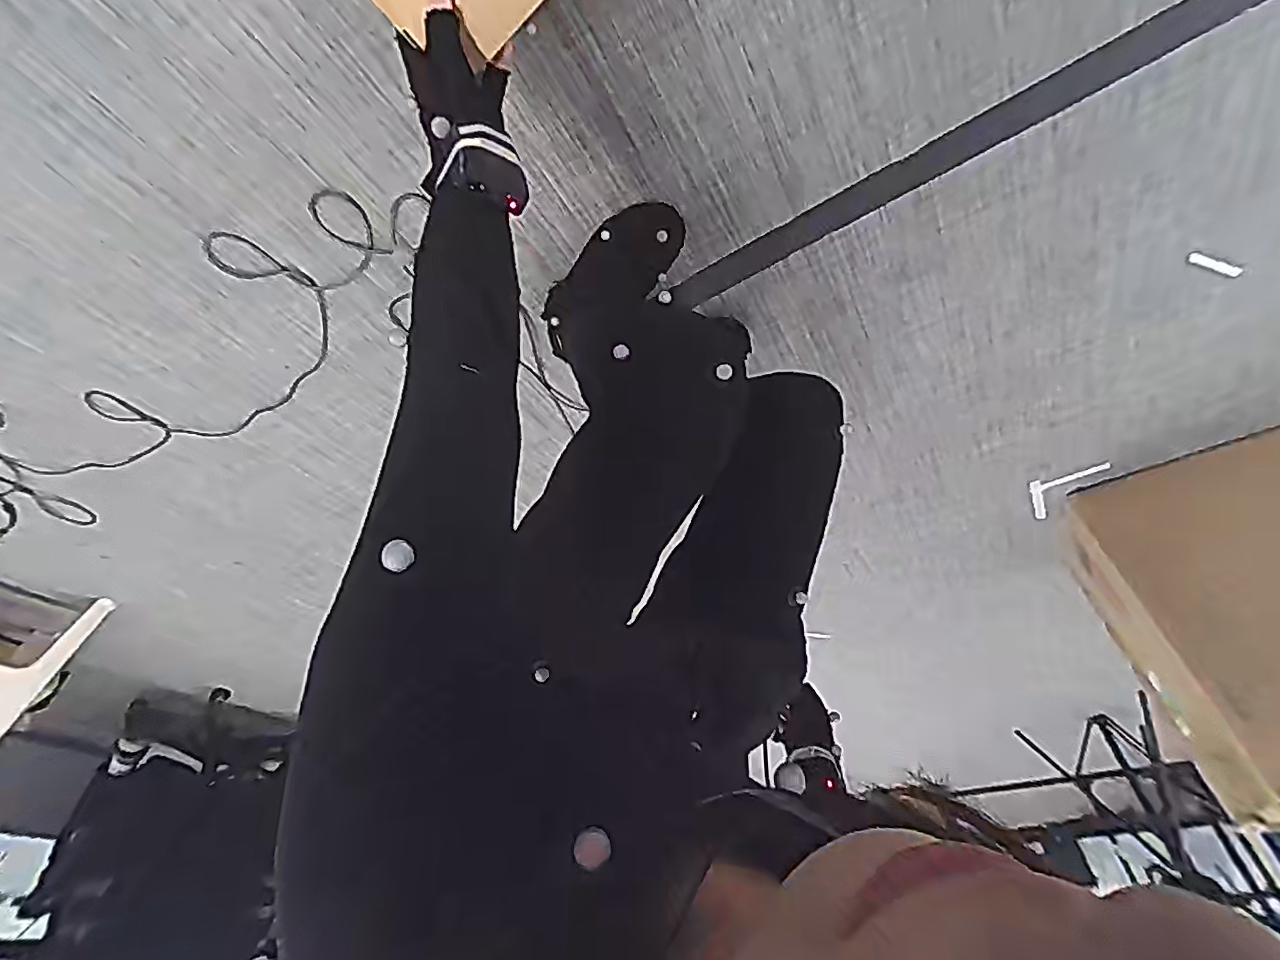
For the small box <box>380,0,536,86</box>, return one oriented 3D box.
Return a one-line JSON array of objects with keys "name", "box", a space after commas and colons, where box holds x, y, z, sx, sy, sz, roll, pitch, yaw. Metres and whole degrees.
[{"name": "small box", "box": [-0.154, -0.502, 0.471, 0.179, 0.176, 0.168, -28, 134, 27]}]
